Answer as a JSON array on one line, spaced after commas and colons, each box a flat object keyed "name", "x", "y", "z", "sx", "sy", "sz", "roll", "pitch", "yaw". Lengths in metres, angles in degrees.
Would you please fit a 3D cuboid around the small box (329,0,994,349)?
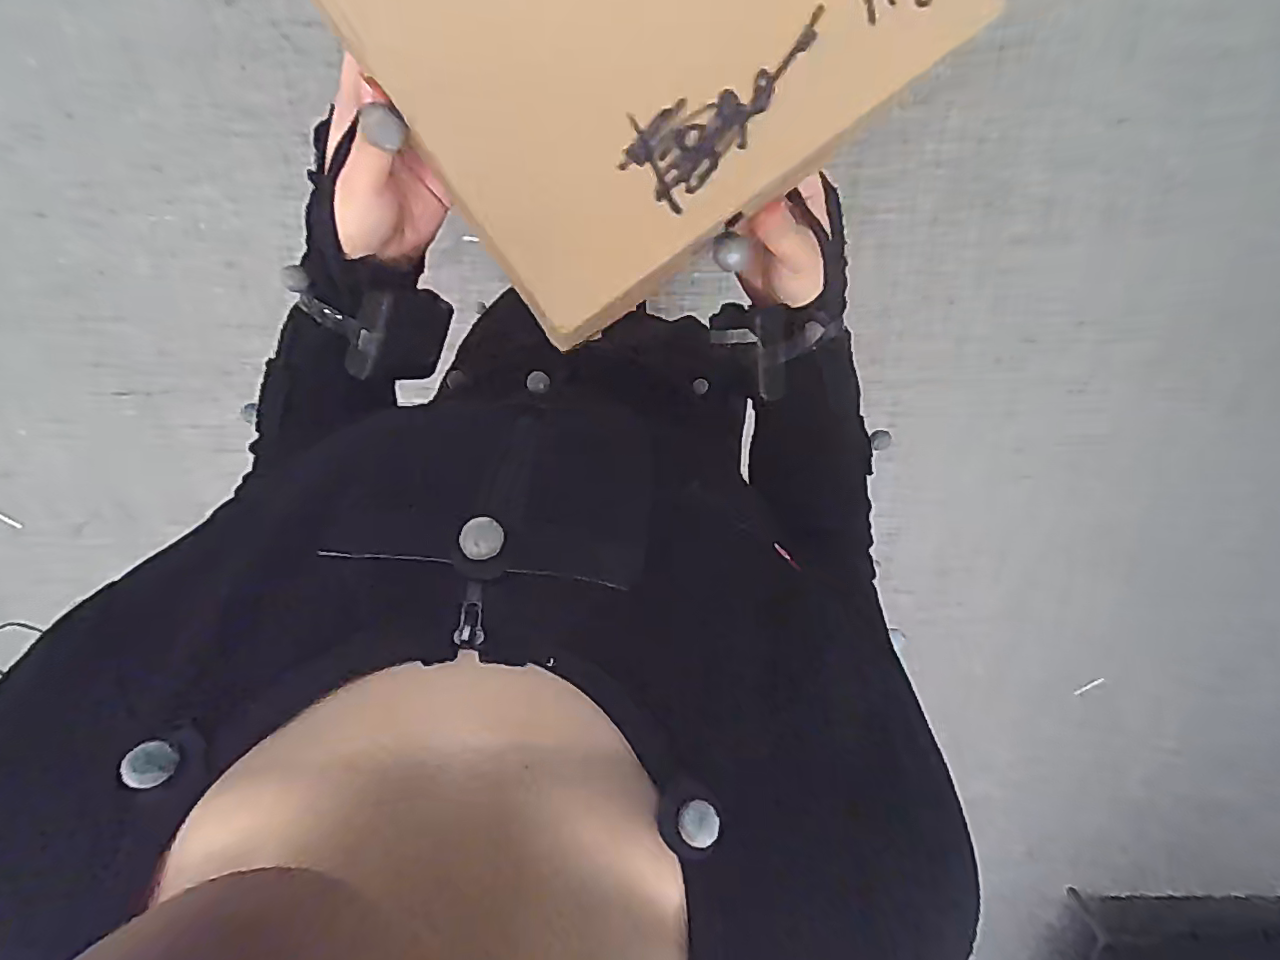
[{"name": "small box", "x": -0.012, "y": -0.173, "z": 0.231, "sx": 0.168, "sy": 0.176, "sz": 0.179, "roll": -36, "pitch": 102, "yaw": 1}]
